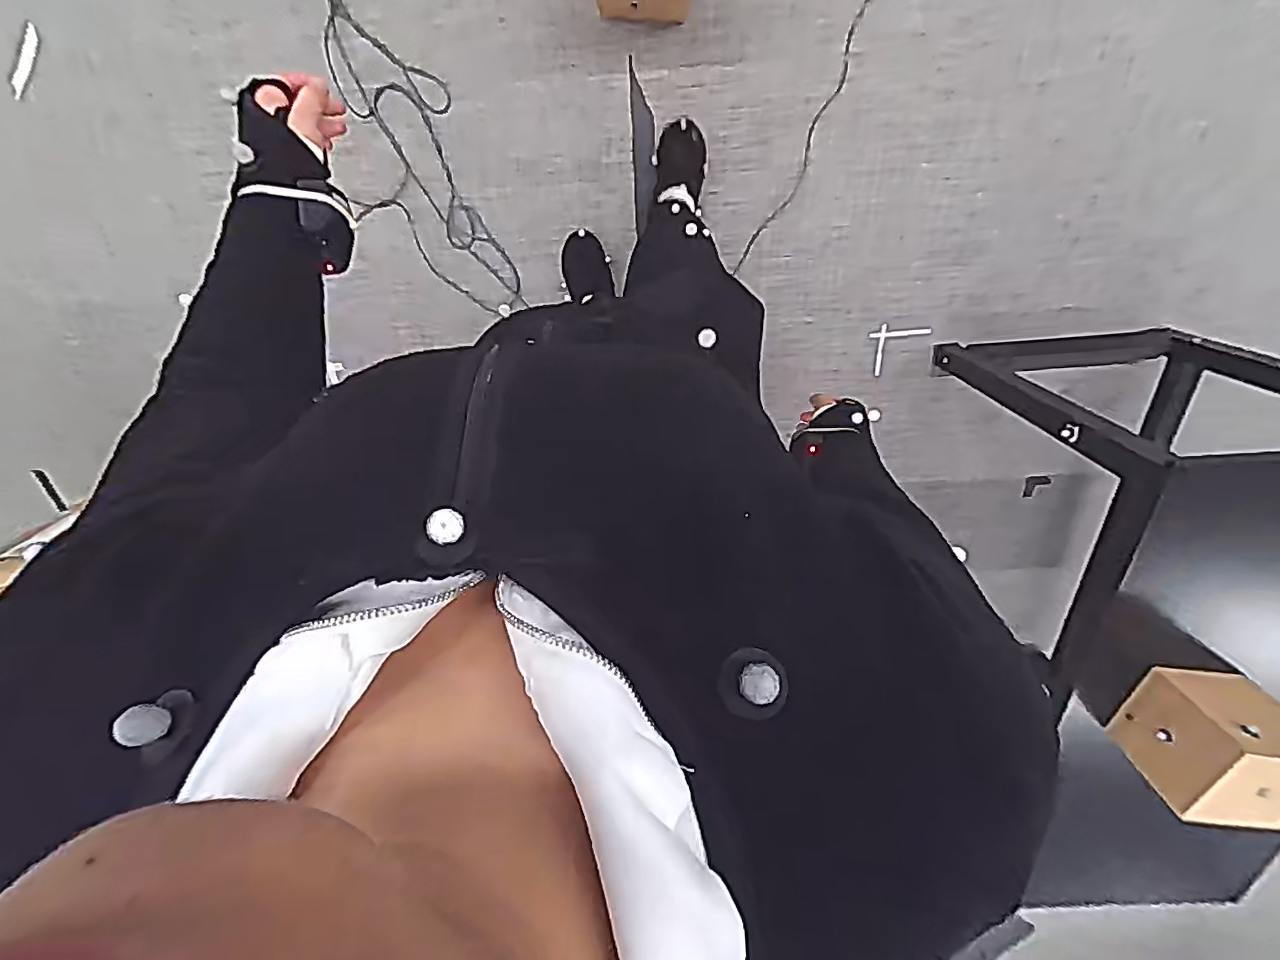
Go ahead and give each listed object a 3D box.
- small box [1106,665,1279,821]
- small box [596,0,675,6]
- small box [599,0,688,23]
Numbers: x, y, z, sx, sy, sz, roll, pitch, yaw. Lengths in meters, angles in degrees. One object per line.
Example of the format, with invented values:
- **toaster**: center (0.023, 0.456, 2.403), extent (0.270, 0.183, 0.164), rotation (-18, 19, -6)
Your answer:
- **small box**: center (0.953, 0.433, 0.907), extent (0.179, 0.176, 0.168), rotation (6, 118, -4)
- **small box**: center (0.002, -0.883, 0.855), extent (0.179, 0.176, 0.168), rotation (-3, 118, 3)
- **small box**: center (0.008, -0.972, 0.995), extent (0.179, 0.176, 0.168), rotation (3, 118, -1)
